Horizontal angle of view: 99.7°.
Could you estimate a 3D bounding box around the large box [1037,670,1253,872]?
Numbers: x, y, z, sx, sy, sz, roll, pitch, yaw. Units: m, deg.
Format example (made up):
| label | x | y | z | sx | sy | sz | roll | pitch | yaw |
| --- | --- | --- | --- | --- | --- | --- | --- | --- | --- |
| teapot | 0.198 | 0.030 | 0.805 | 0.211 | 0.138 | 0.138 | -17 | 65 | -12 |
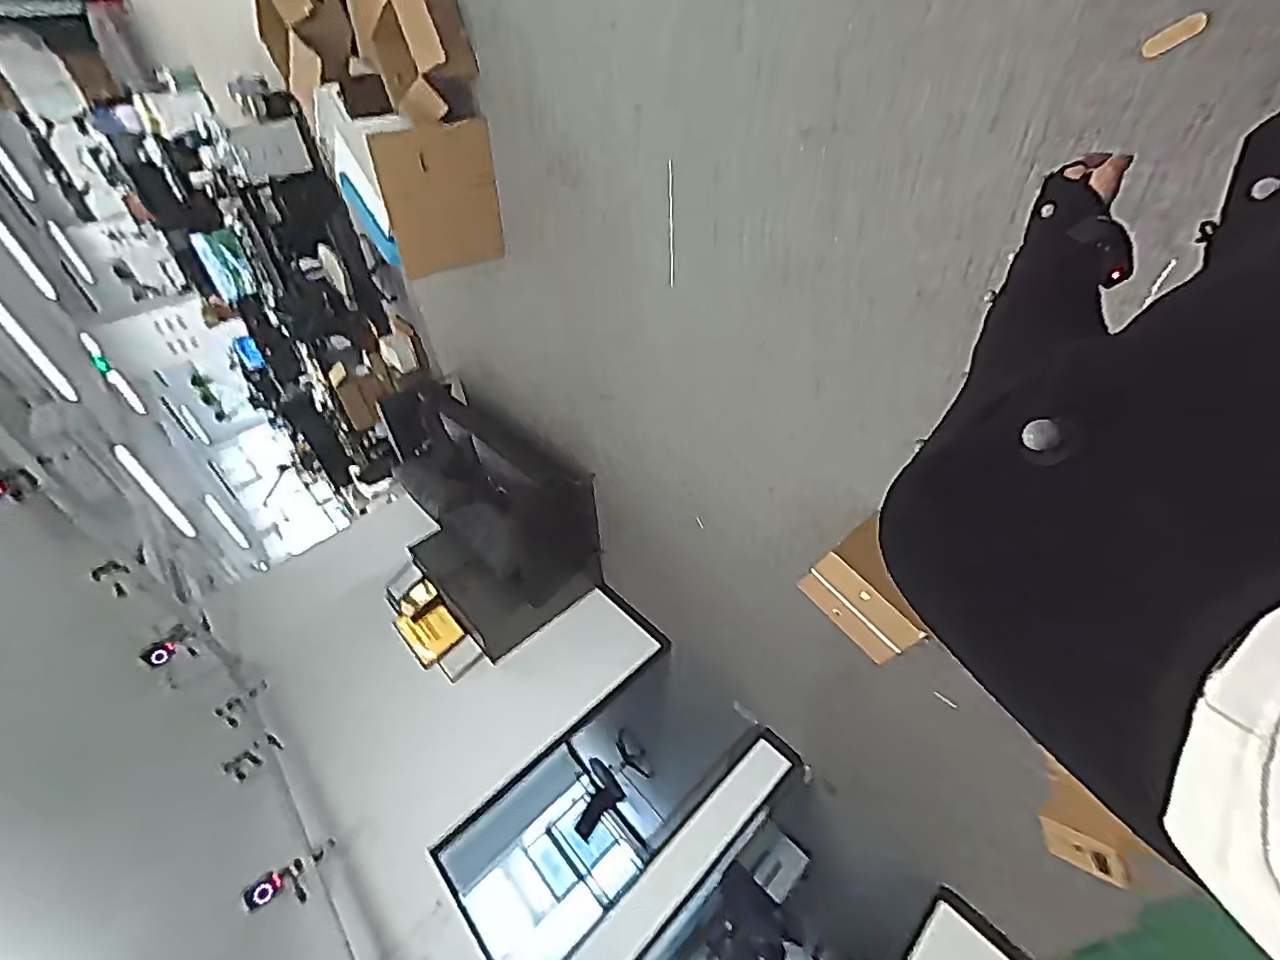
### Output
| label | x | y | z | sx | sy | sz | roll | pitch | yaw |
| --- | --- | --- | --- | --- | --- | --- | --- | --- | --- |
| large box | 1.496 | 0.827 | 1.611 | 0.408 | 0.320 | 0.320 | -1 | 118 | 55 |
